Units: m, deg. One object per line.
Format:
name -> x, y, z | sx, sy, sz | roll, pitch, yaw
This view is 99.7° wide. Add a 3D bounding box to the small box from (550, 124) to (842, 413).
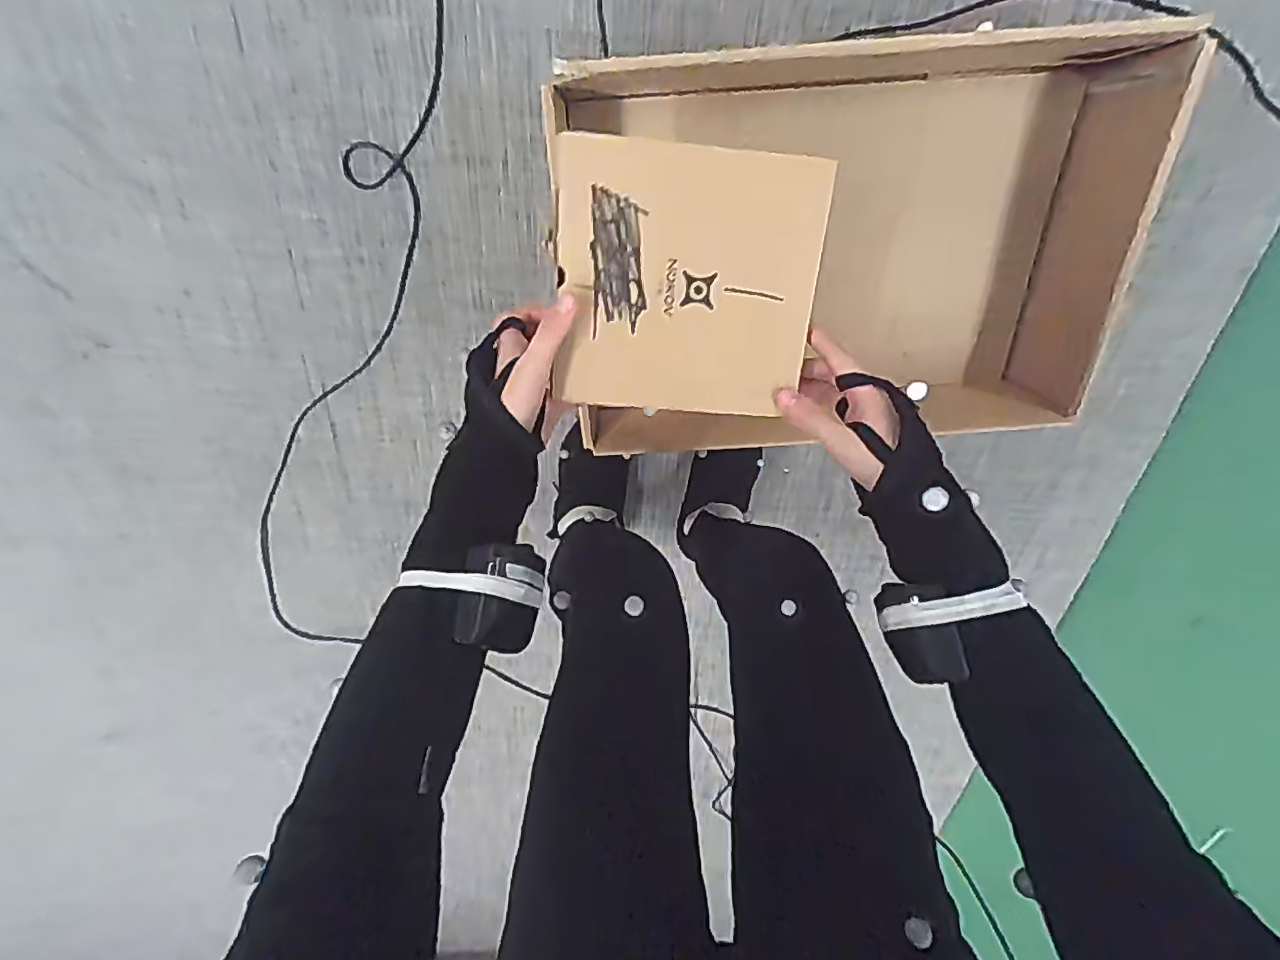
small box -> 0.028, -0.156, 0.426 | 0.179, 0.176, 0.168 | 3, 110, -4
